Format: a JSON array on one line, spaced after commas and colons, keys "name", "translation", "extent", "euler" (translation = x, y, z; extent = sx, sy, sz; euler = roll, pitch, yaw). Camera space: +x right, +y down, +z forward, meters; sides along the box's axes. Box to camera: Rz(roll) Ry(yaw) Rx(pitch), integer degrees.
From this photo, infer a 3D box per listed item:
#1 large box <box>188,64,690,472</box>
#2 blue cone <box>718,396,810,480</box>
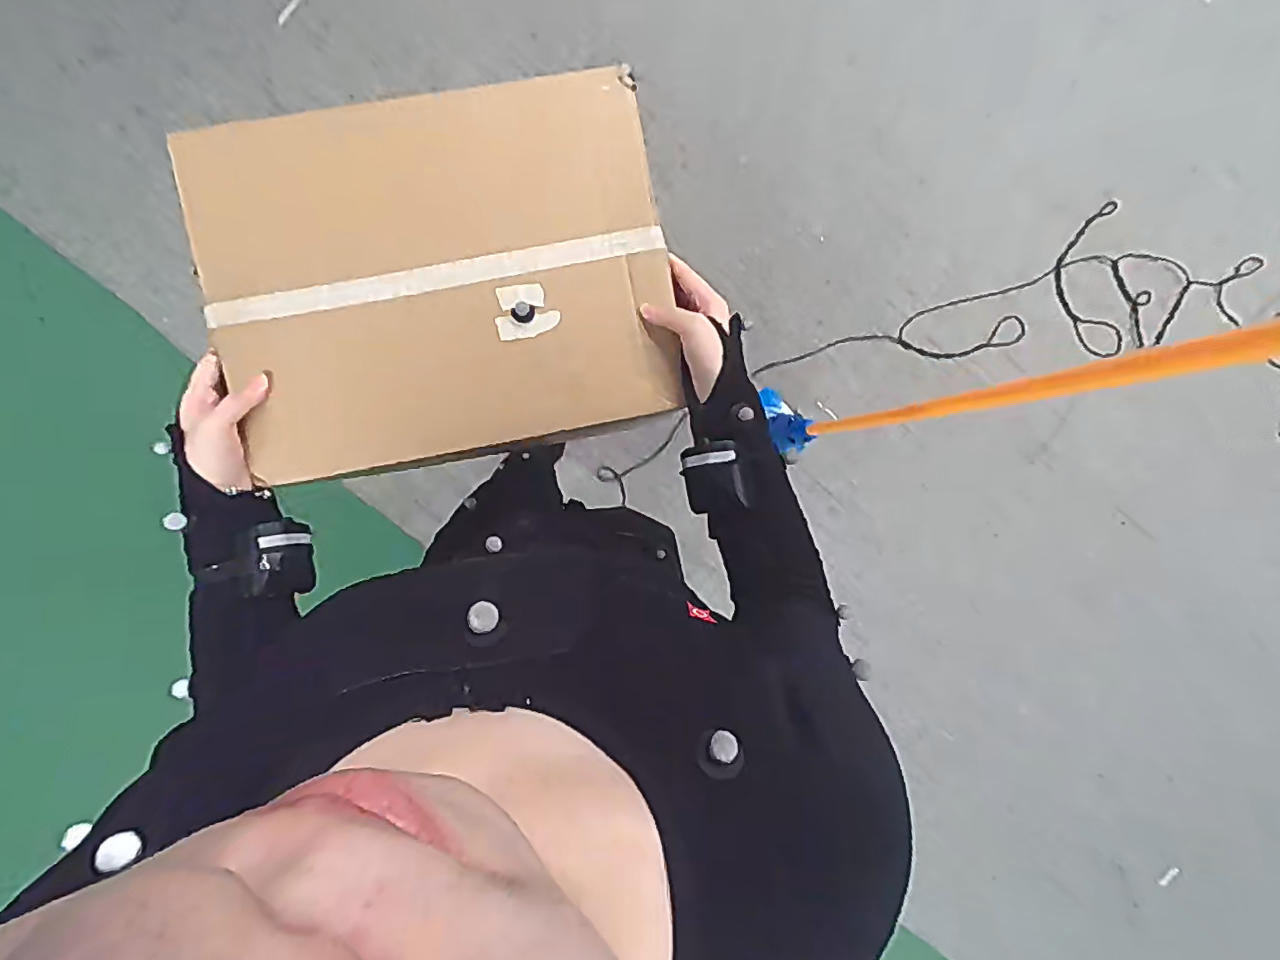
[{"name": "large box", "translation": [-0.188, -0.202, 0.642], "extent": [0.408, 0.320, 0.320], "euler": [-11, 95, -5]}, {"name": "blue cone", "translation": [0.343, -0.108, 1.332], "extent": [0.192, 0.380, 0.193], "euler": [-41, 94, 1]}]
